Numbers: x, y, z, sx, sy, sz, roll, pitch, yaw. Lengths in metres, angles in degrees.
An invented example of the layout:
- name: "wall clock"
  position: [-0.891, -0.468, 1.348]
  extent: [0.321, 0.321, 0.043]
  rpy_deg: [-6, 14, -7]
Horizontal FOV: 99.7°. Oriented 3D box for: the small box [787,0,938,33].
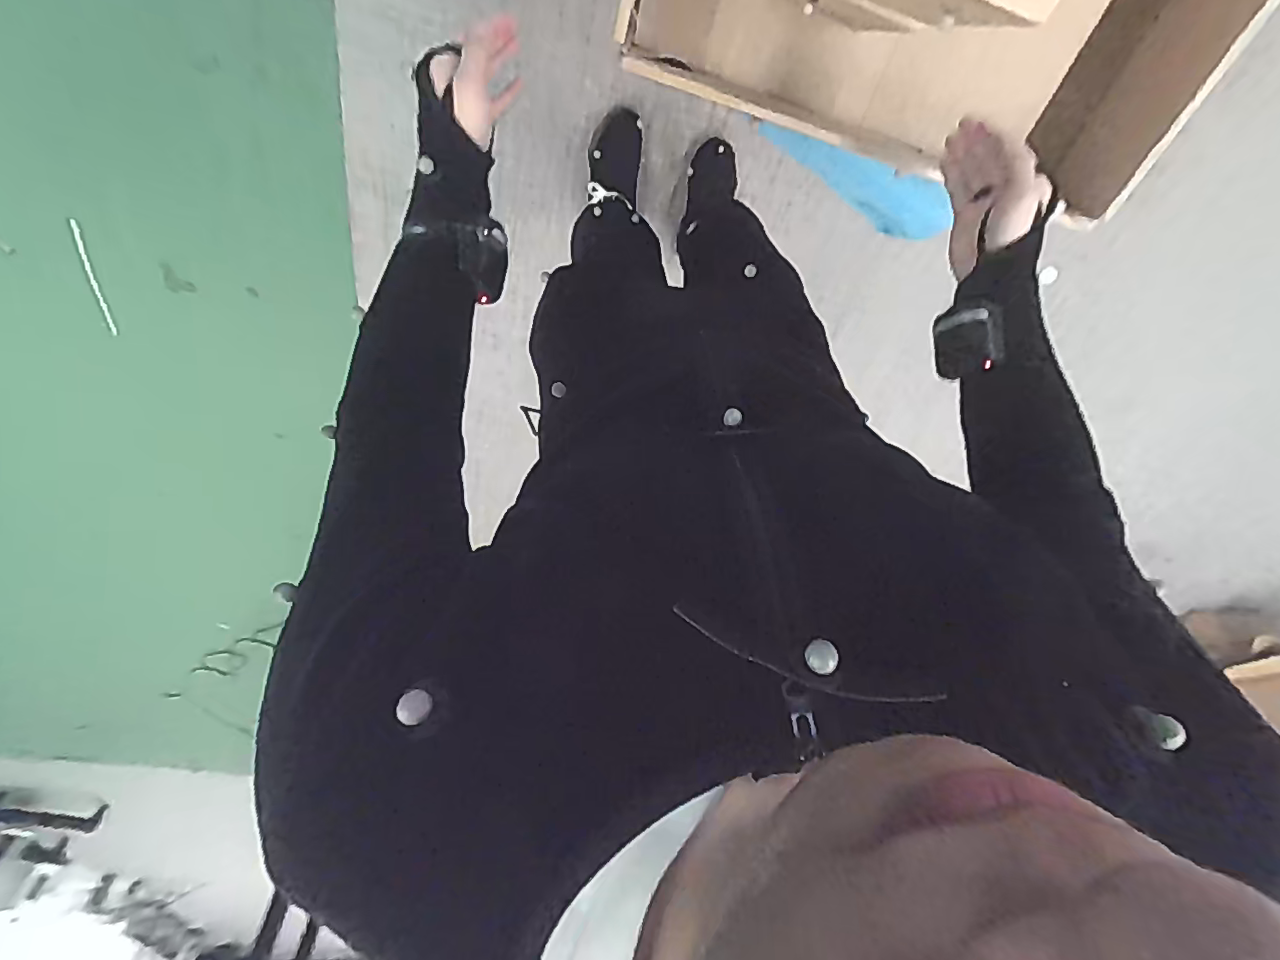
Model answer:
- name: "small box"
  position: [0.201, -0.548, 0.499]
  extent: [0.179, 0.176, 0.168]
  rpy_deg: [10, 128, -14]
